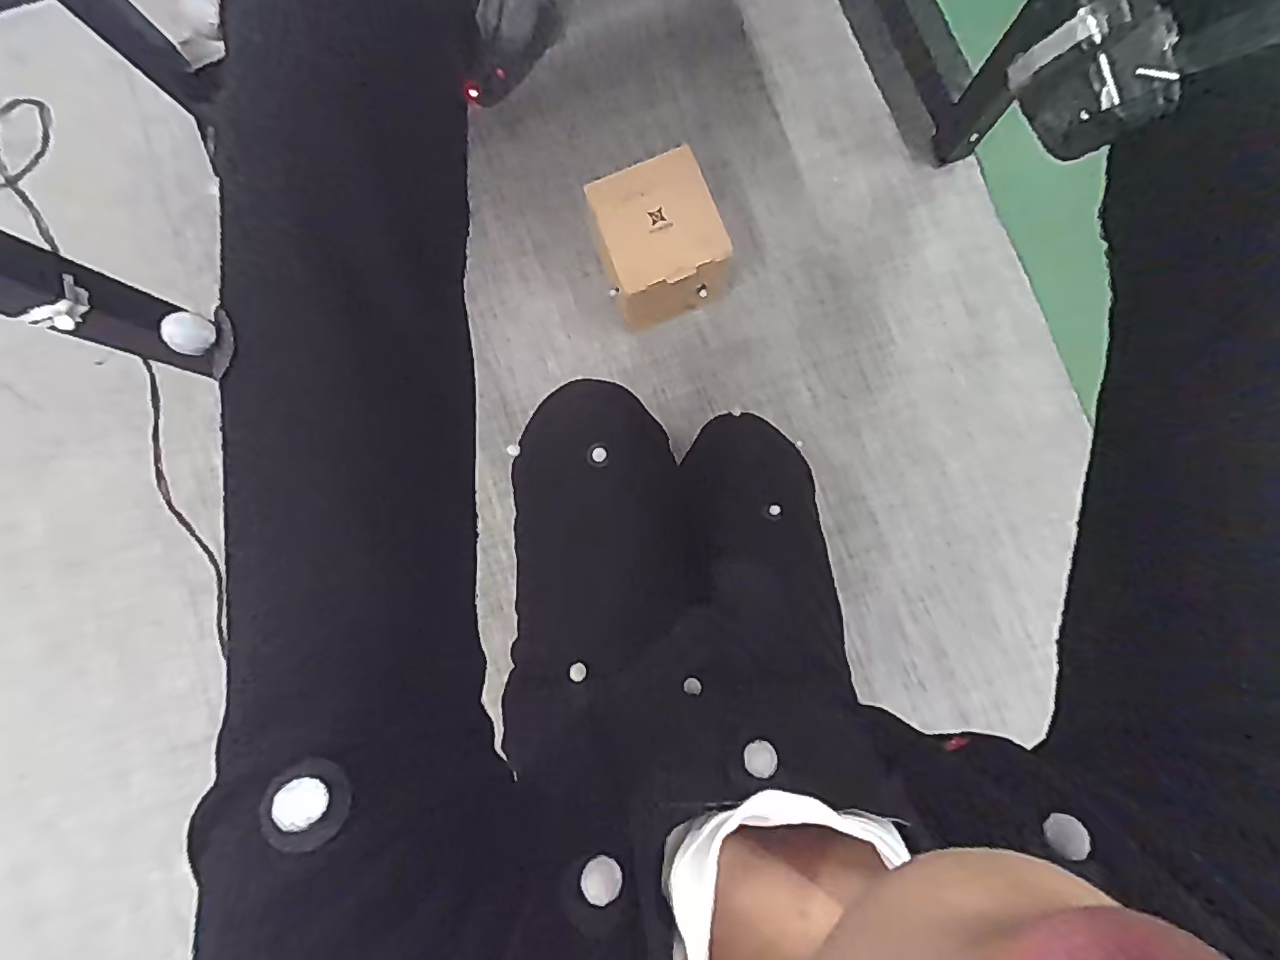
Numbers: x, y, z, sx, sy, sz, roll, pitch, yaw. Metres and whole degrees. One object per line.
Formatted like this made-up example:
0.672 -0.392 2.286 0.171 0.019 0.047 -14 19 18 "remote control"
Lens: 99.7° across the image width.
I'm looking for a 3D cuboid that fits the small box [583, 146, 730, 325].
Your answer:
0.027 -0.363 0.844 0.168 0.176 0.179 -22 84 0 "small box"
